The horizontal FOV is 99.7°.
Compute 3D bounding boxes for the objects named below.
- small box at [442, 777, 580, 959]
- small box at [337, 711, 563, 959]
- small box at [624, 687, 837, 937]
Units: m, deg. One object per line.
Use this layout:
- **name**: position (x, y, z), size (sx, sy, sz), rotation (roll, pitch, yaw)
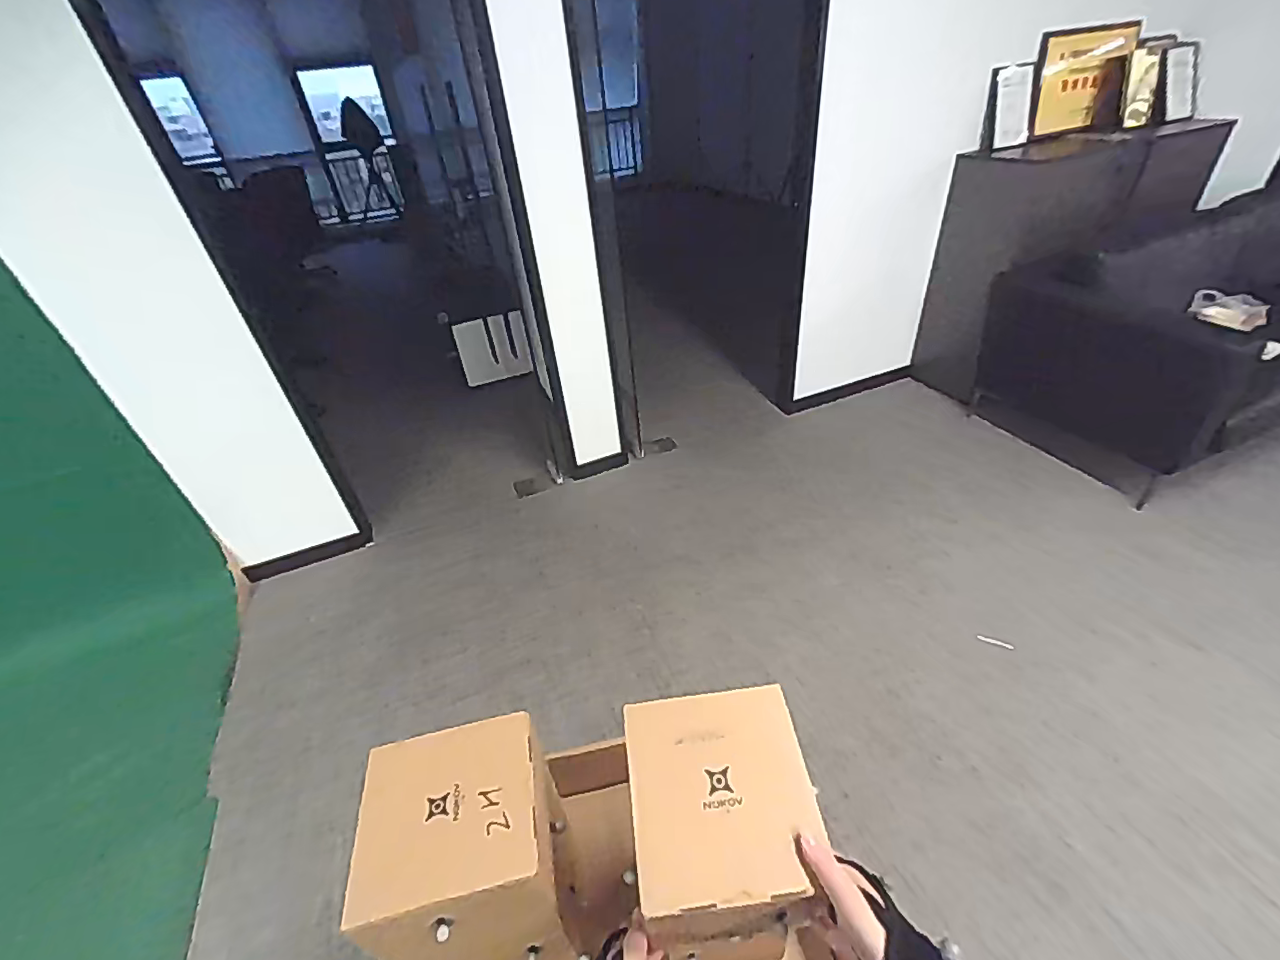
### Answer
- **small box**: position (-0.181, 0.518, 0.692), size (0.179, 0.176, 0.168), rotation (-10, 38, -8)
- **small box**: position (-0.190, 0.389, 0.589), size (0.179, 0.176, 0.168), rotation (-10, 38, -8)
- **small box**: position (0.076, 0.336, 0.544), size (0.168, 0.176, 0.179), rotation (-6, 44, -3)
